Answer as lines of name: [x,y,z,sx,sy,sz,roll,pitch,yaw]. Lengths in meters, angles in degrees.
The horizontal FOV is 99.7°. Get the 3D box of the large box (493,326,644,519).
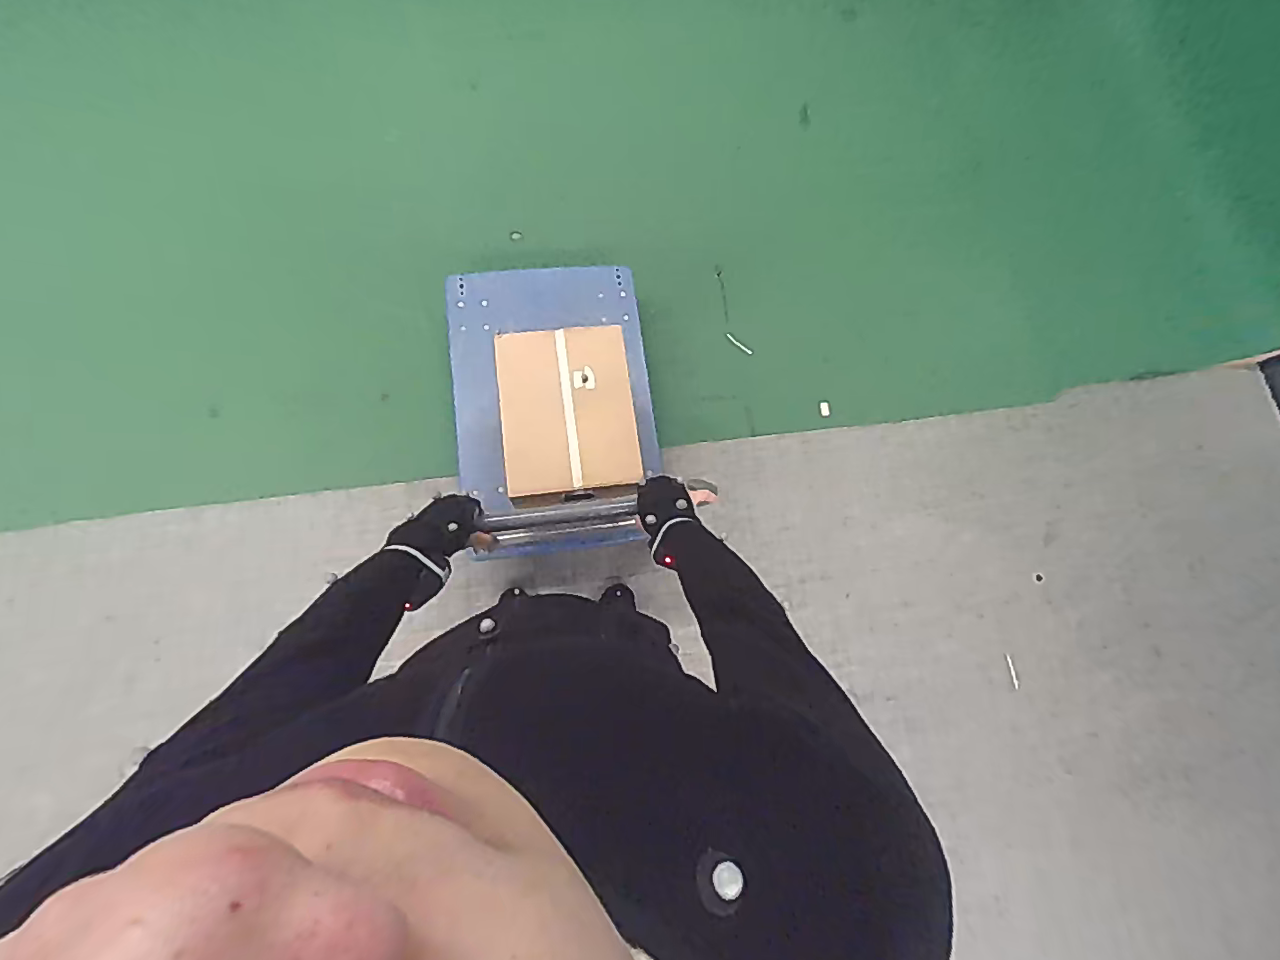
large box: [-0.186,-0.136,1.414,0.320,0.320,0.408,-7,77,-9]
